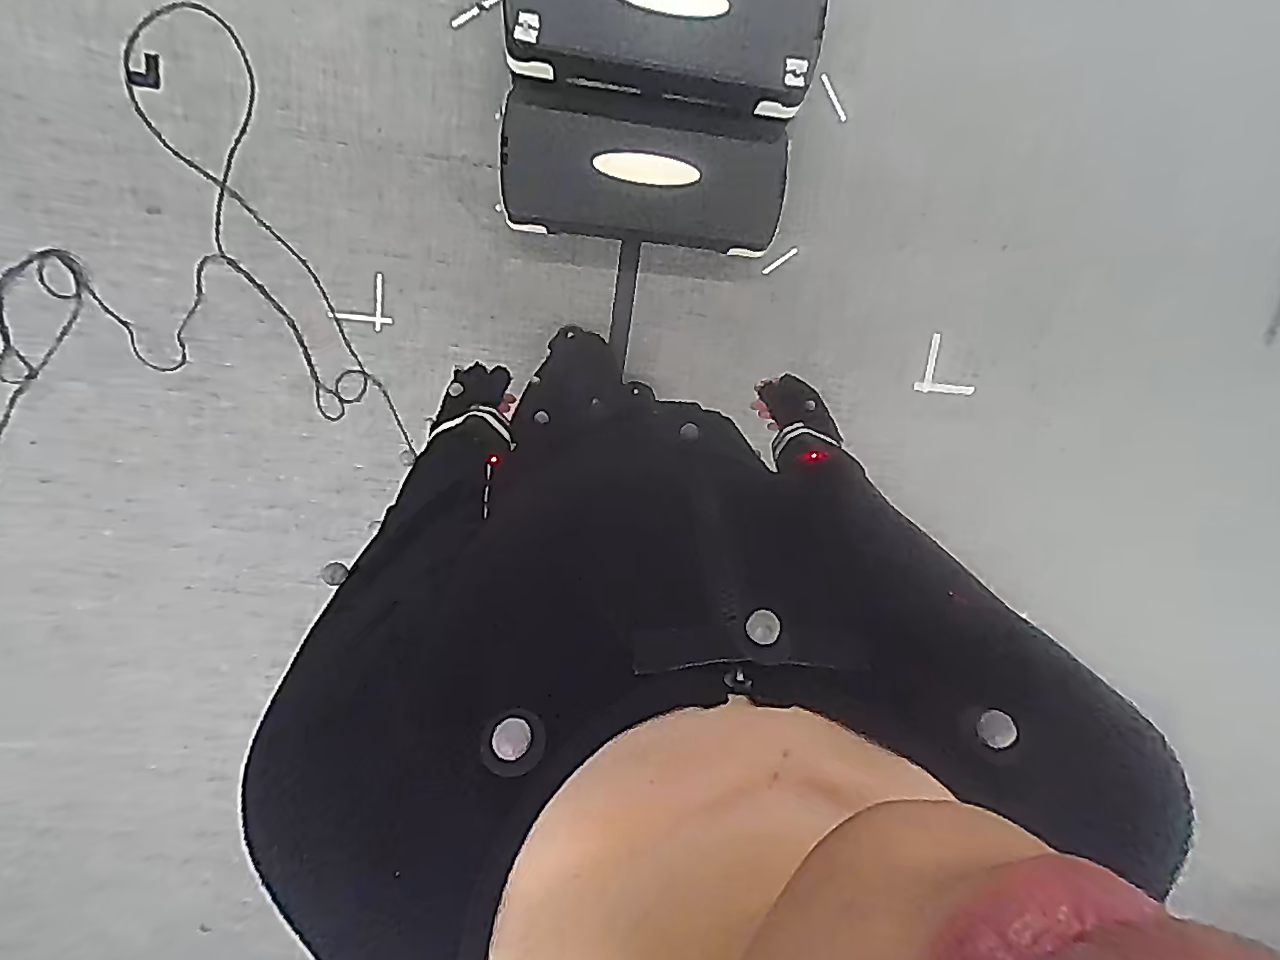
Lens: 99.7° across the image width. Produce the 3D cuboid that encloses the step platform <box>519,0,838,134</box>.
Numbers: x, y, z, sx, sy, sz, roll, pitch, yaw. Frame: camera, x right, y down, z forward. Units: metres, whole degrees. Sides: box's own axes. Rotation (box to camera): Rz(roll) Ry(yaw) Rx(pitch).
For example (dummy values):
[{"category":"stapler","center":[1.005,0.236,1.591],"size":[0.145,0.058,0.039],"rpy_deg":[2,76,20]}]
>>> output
[{"category":"step platform","center":[0.081,-0.996,1.192],"size":[0.684,0.204,0.286],"rpy_deg":[4,101,-7]}]
